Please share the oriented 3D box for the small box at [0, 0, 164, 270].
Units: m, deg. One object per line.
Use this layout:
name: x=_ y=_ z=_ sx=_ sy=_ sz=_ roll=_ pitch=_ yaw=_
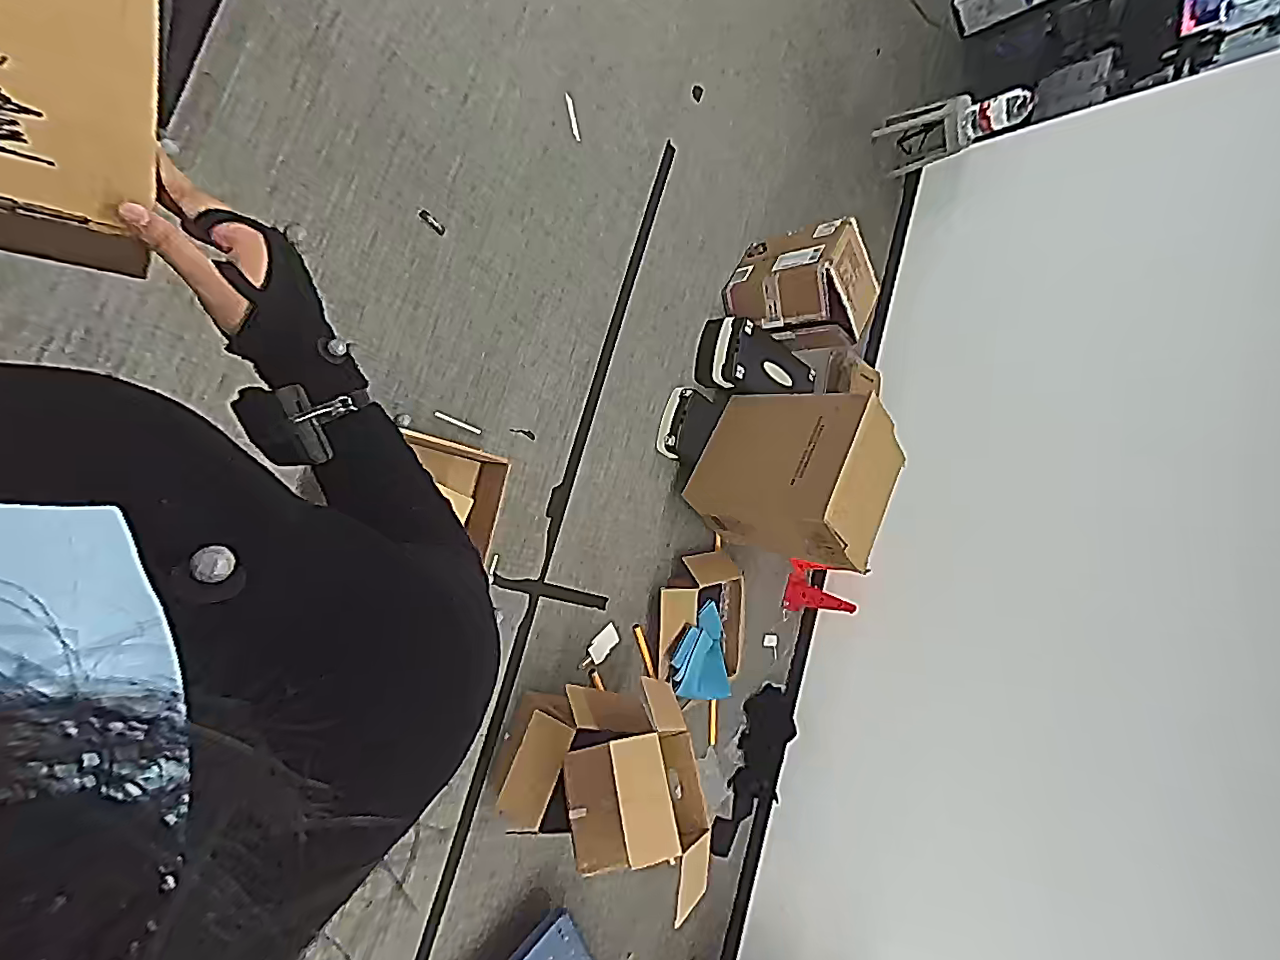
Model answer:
small box: x=-0.420 y=-0.252 z=0.347 sx=0.168 sy=0.176 sz=0.179 roll=1 pitch=95 yaw=-44
